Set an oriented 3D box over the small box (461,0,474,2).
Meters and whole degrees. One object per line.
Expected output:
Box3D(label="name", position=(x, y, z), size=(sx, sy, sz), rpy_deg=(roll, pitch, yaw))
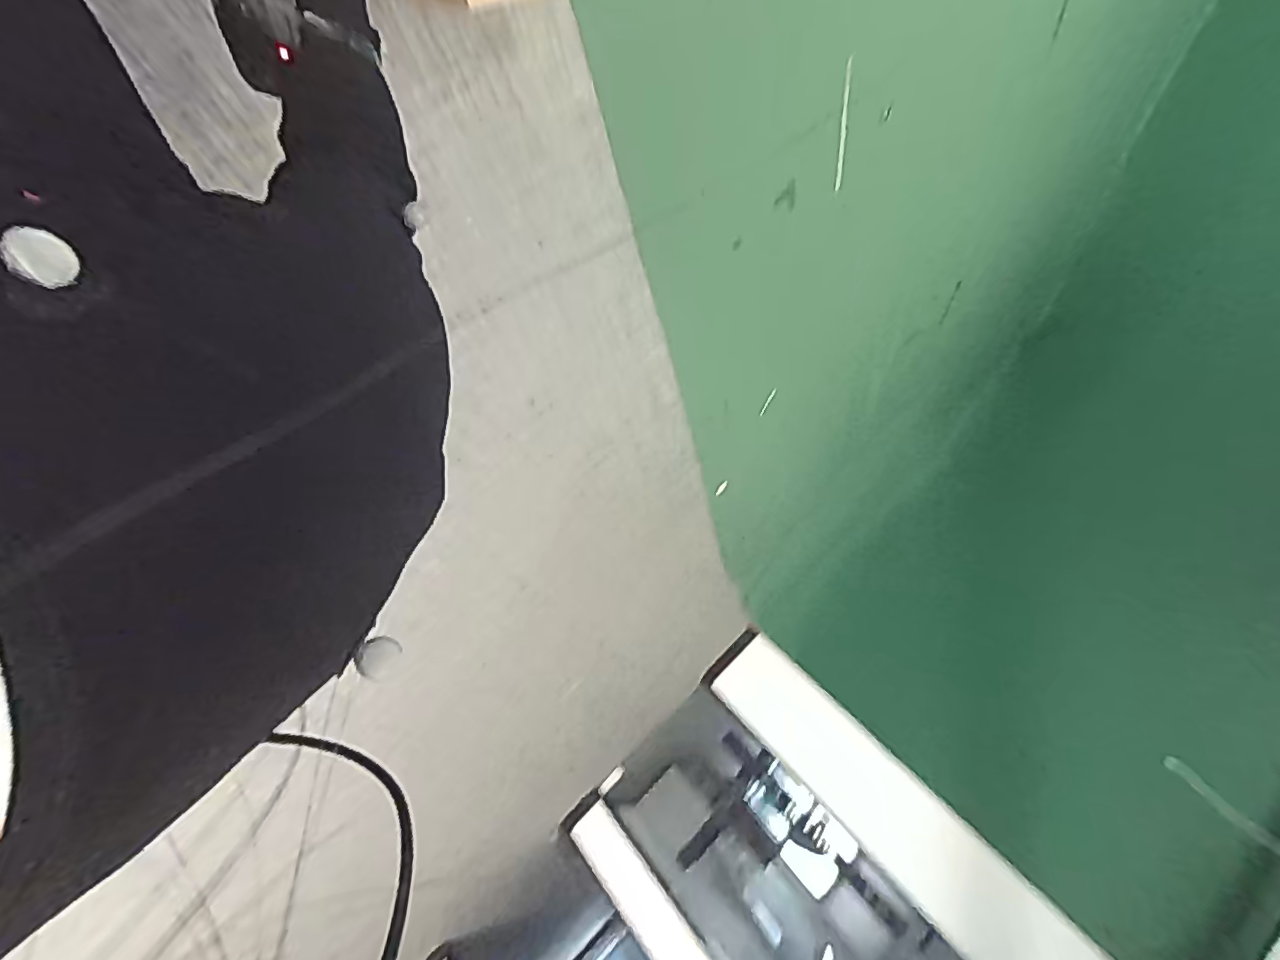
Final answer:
Box3D(label="small box", position=(-0.181, -0.641, 0.577), size=(0.179, 0.176, 0.168), rpy_deg=(-37, 147, -21))
